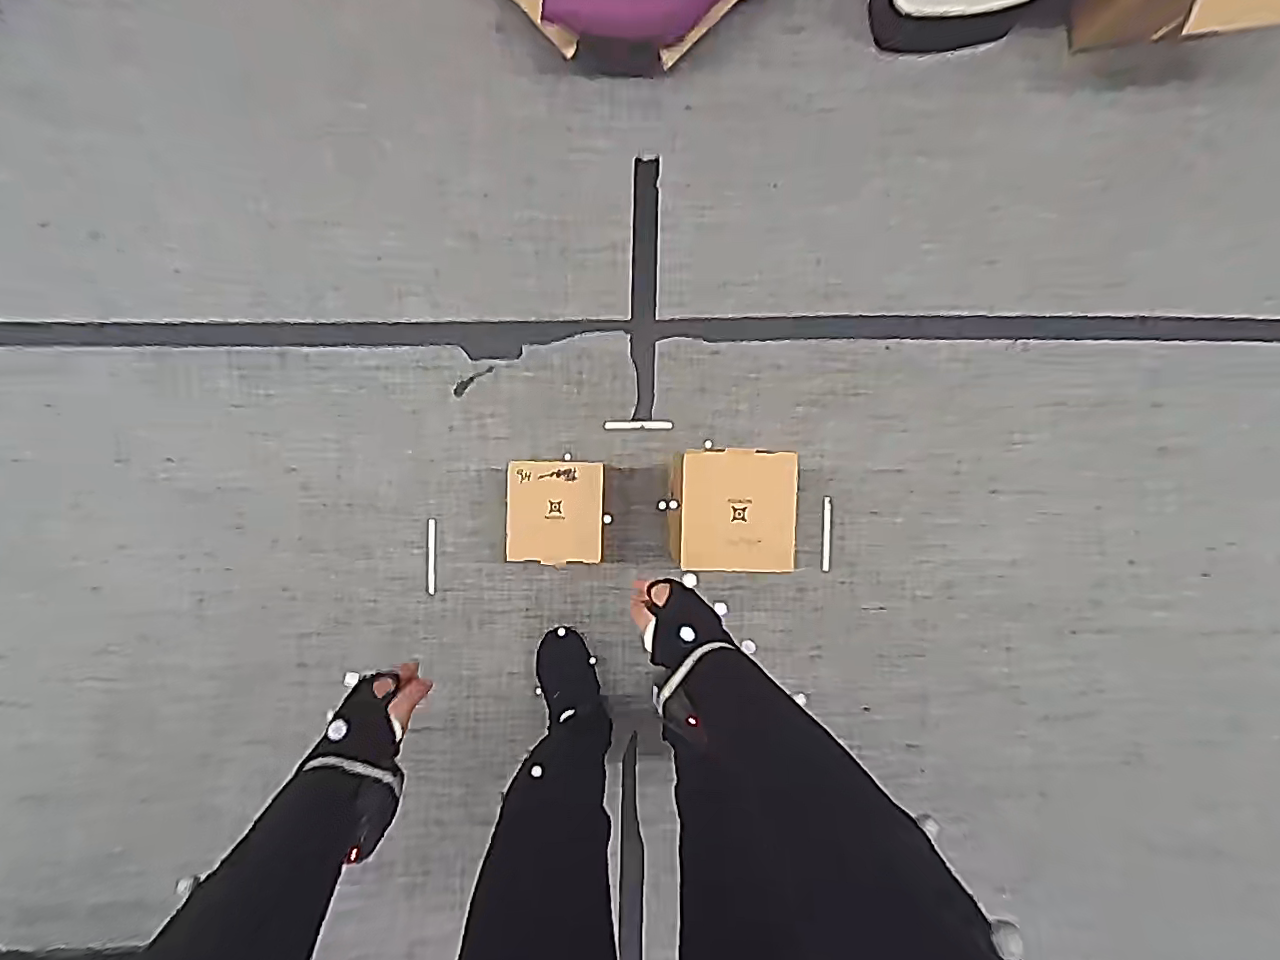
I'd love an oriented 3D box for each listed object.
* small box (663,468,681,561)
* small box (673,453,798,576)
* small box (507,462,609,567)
[{"bbox_3d":[0.142,0.056,1.014,0.179,0.176,0.168,-2,90,-4],"label":"small box"},{"bbox_3d":[0.141,0.047,0.854,0.168,0.176,0.179,1,93,-1],"label":"small box"},{"bbox_3d":[-0.146,0.058,1.011,0.168,0.176,0.179,2,92,-1],"label":"small box"}]
